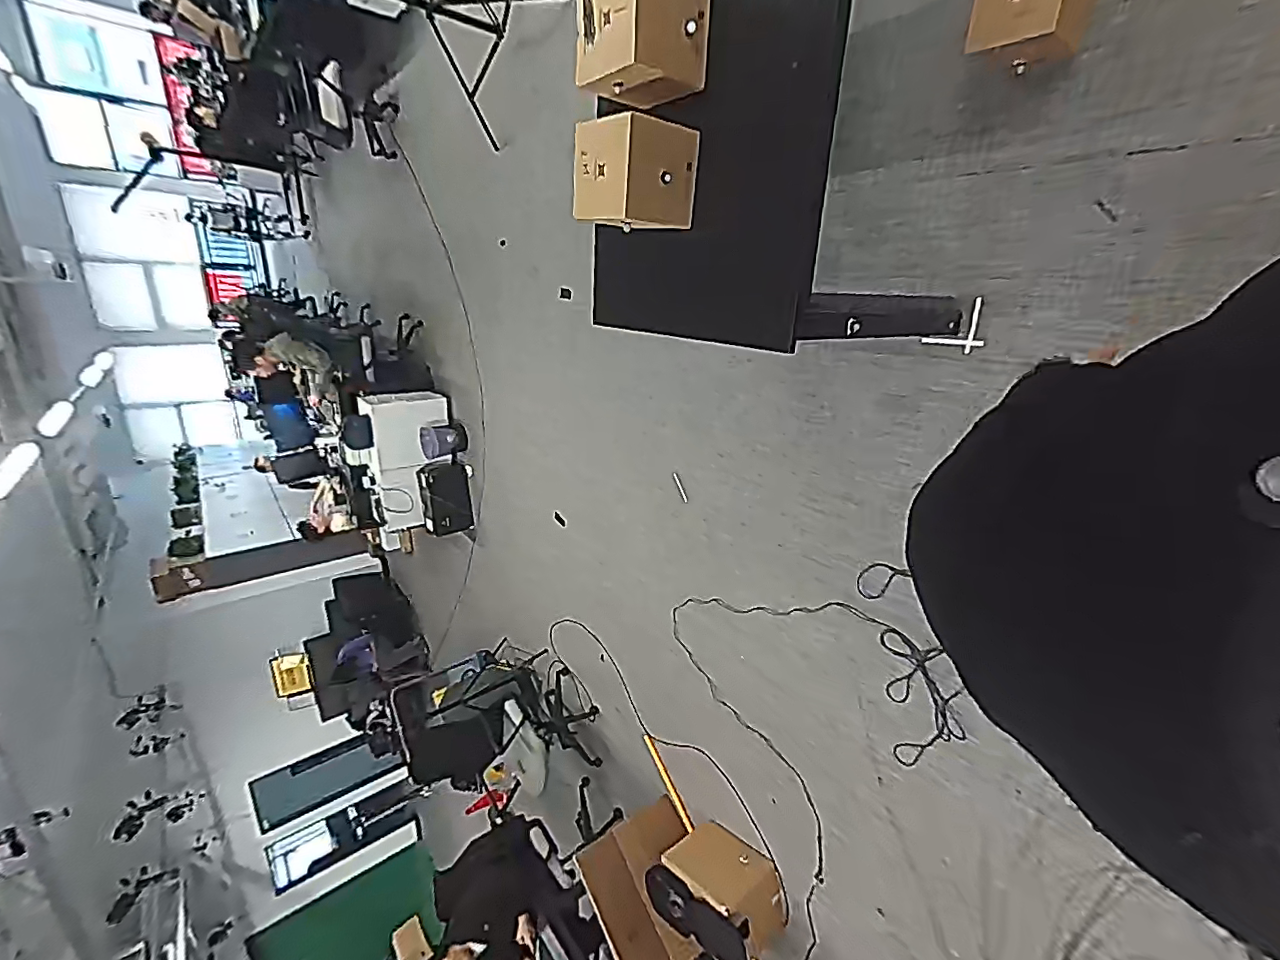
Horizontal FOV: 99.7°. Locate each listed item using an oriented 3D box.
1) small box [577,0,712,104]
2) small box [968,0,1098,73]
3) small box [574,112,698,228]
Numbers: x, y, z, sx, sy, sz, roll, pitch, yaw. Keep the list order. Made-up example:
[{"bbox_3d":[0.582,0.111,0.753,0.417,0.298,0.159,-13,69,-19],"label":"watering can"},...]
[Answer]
[{"bbox_3d":[0.005,-0.796,0.962,0.179,0.176,0.168,24,119,46],"label":"small box"},{"bbox_3d":[0.802,-0.965,1.091,0.168,0.176,0.179,25,120,47],"label":"small box"},{"bbox_3d":[-0.008,-0.587,1.041,0.179,0.176,0.168,29,122,45],"label":"small box"}]
